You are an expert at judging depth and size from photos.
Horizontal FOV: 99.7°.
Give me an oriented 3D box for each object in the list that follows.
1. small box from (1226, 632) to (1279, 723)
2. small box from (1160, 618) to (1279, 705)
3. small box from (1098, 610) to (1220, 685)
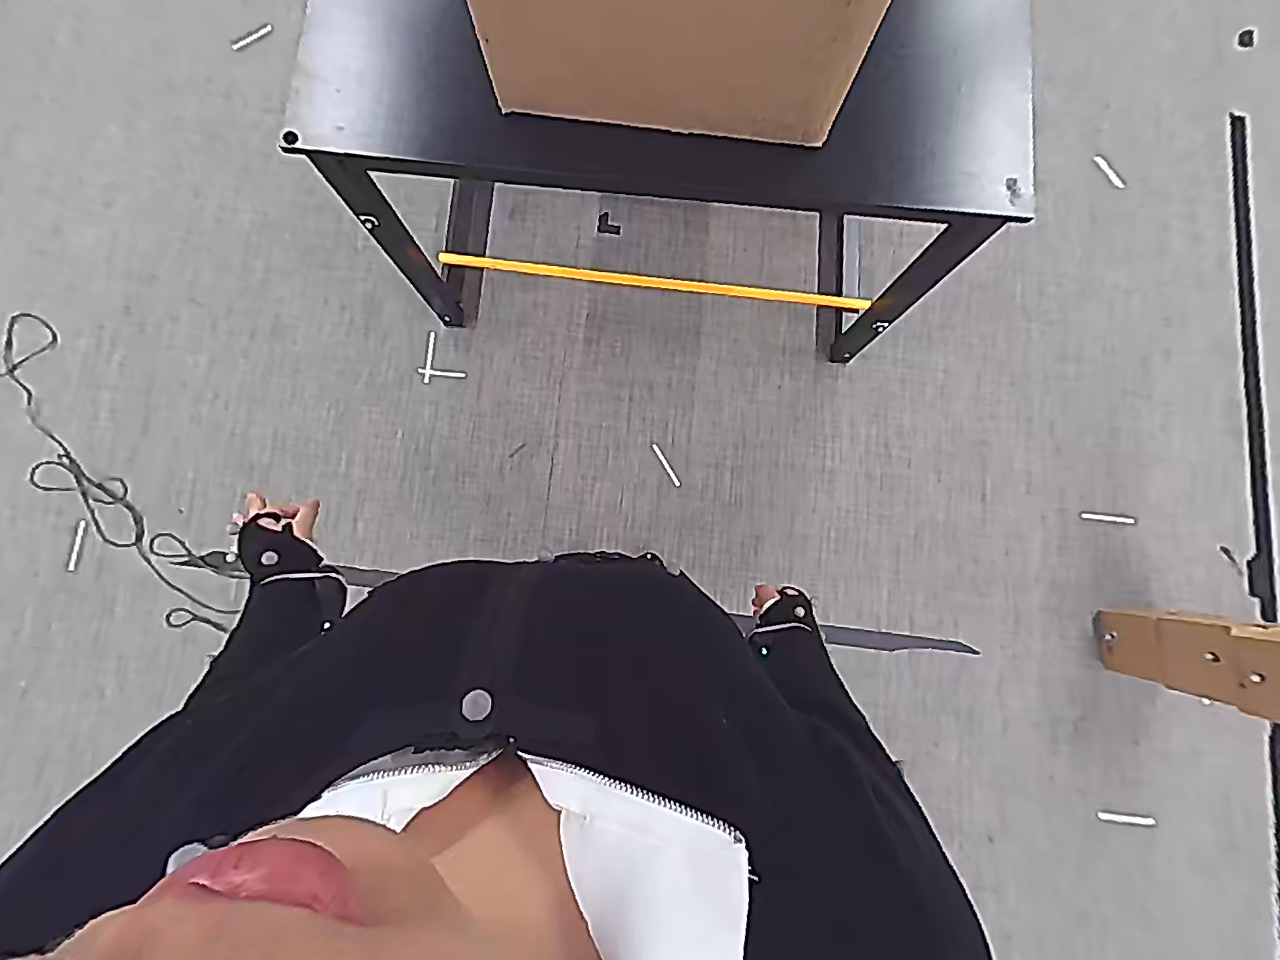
[{"bbox_3d":[1.364,0.403,1.089,0.179,0.176,0.168,-3,82,-1],"label":"small box"},{"bbox_3d":[1.366,0.417,1.253,0.168,0.176,0.179,1,83,0],"label":"small box"},{"bbox_3d":[1.362,0.433,1.417,0.179,0.176,0.168,-1,82,0],"label":"small box"}]
